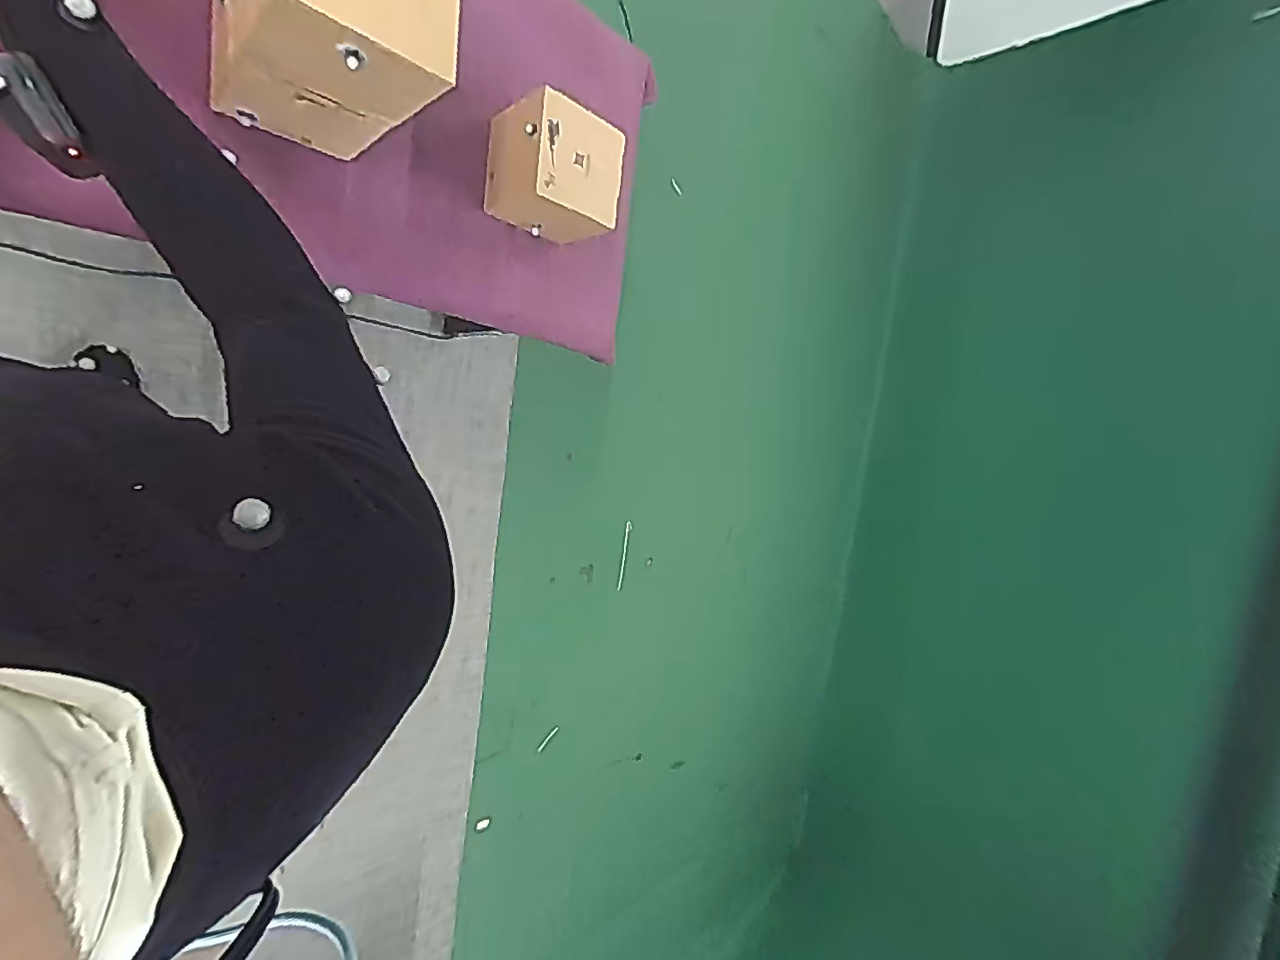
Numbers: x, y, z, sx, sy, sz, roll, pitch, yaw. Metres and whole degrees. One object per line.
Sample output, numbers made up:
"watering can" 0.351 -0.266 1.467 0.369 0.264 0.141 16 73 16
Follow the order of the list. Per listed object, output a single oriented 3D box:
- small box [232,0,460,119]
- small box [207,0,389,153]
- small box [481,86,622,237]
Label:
"small box" -0.311 -0.521 0.572 0.179 0.176 0.168 -1 100 -47
"small box" -0.427 -0.550 0.682 0.168 0.176 0.179 -1 99 -47
"small box" -0.158 -0.549 0.966 0.179 0.176 0.168 0 98 -47
